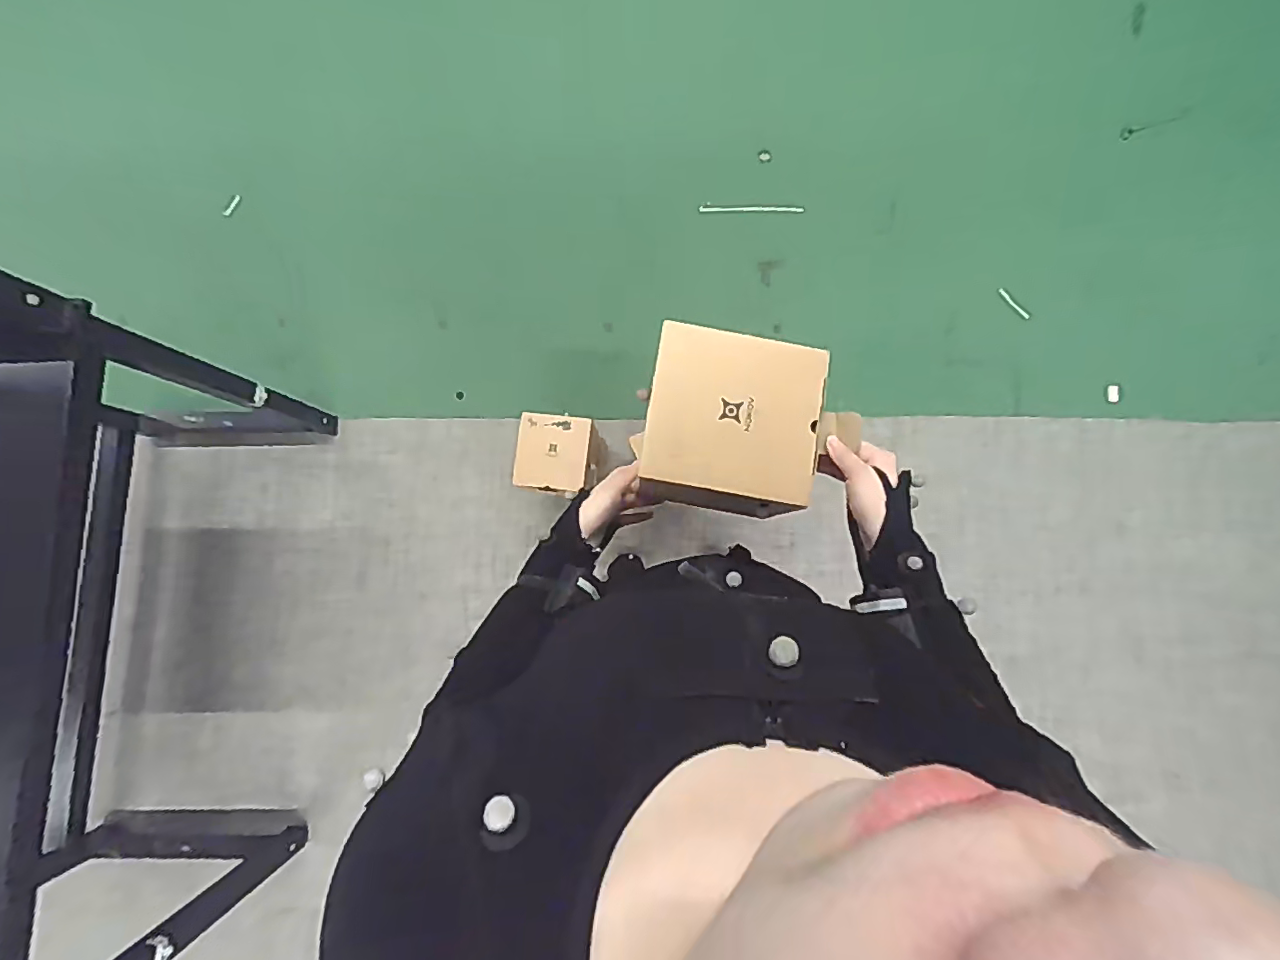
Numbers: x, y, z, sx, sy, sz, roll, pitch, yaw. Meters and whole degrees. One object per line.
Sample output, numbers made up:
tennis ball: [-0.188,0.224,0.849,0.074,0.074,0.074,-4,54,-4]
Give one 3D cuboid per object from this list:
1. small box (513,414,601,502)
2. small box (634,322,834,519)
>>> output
small box: [-0.191,-0.046,1.297,0.168,0.176,0.179,7,83,4]
small box: [0.091,-0.052,0.605,0.179,0.176,0.168,10,82,-2]
